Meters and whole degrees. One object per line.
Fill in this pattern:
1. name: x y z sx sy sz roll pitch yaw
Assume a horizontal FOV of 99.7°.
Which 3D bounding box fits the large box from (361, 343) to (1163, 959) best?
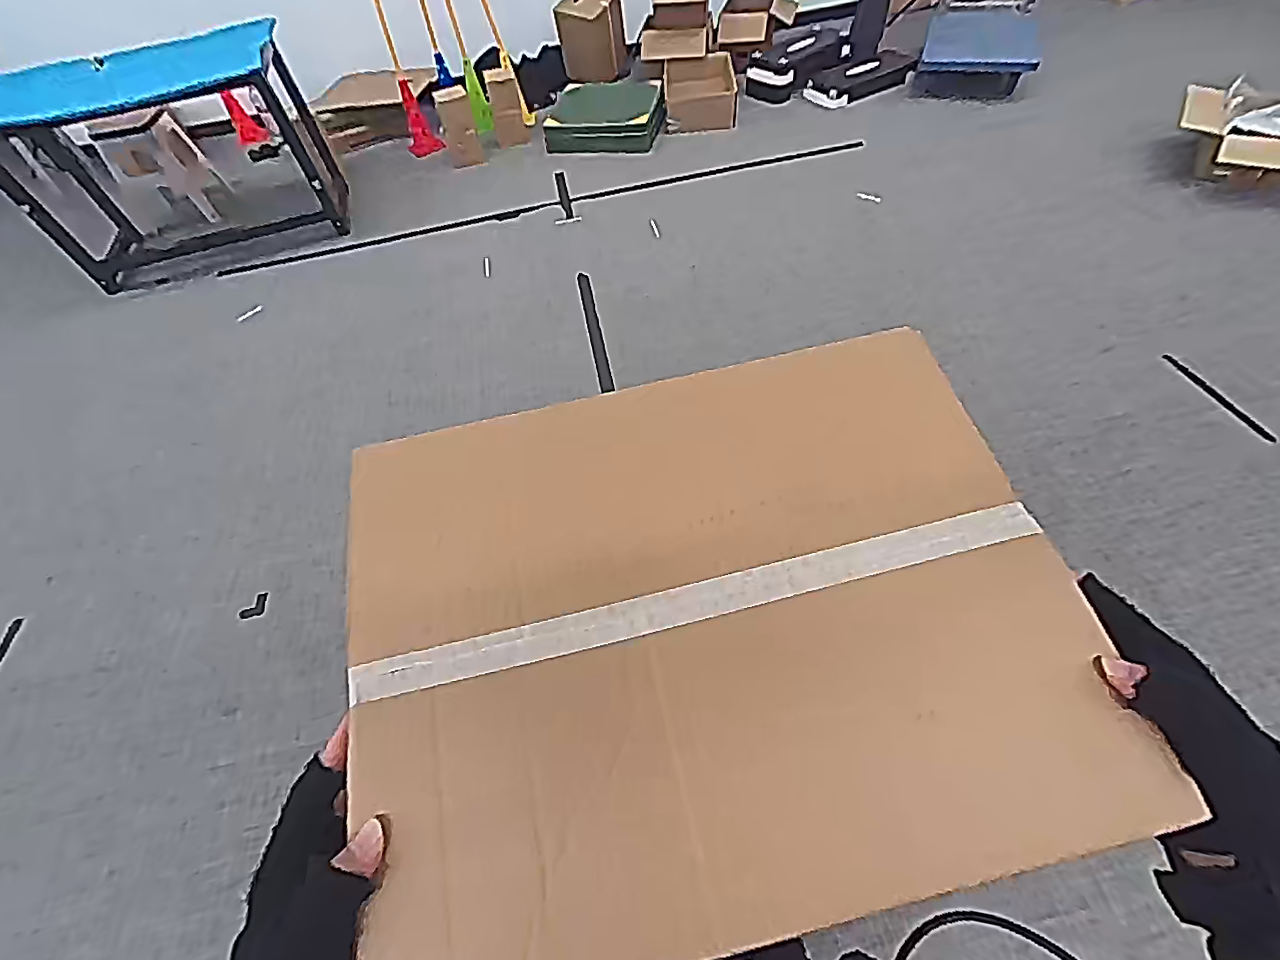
1. large box: 0.045 0.142 0.453 0.408 0.320 0.320 -14 64 -3
